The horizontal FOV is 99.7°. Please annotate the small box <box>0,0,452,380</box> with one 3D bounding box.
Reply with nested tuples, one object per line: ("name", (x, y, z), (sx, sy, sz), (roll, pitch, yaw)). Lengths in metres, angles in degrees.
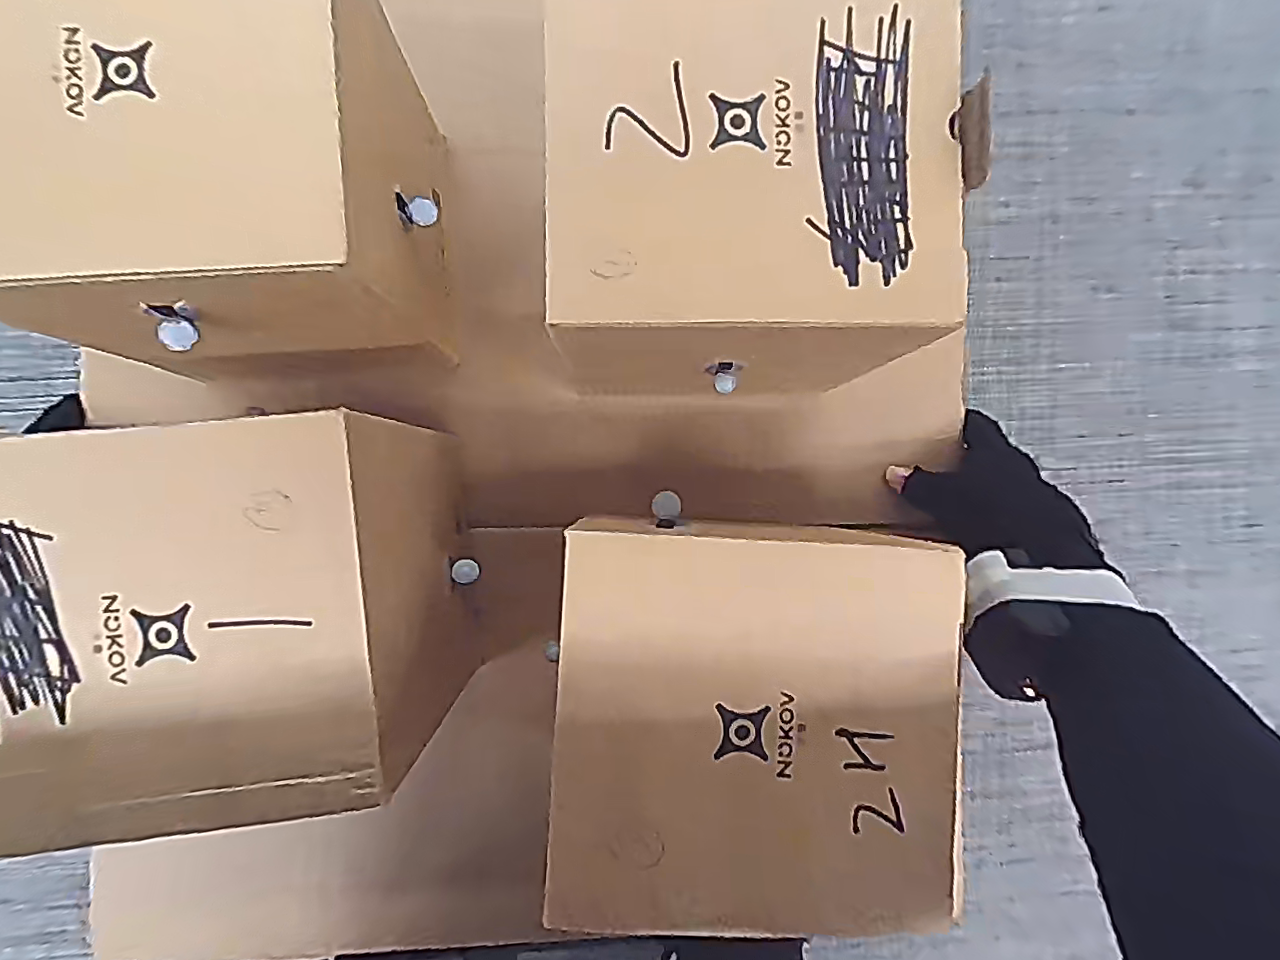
("small box", (-0.214, -0.156, 0.301), (0.179, 0.176, 0.168), (-4, 88, -2))
